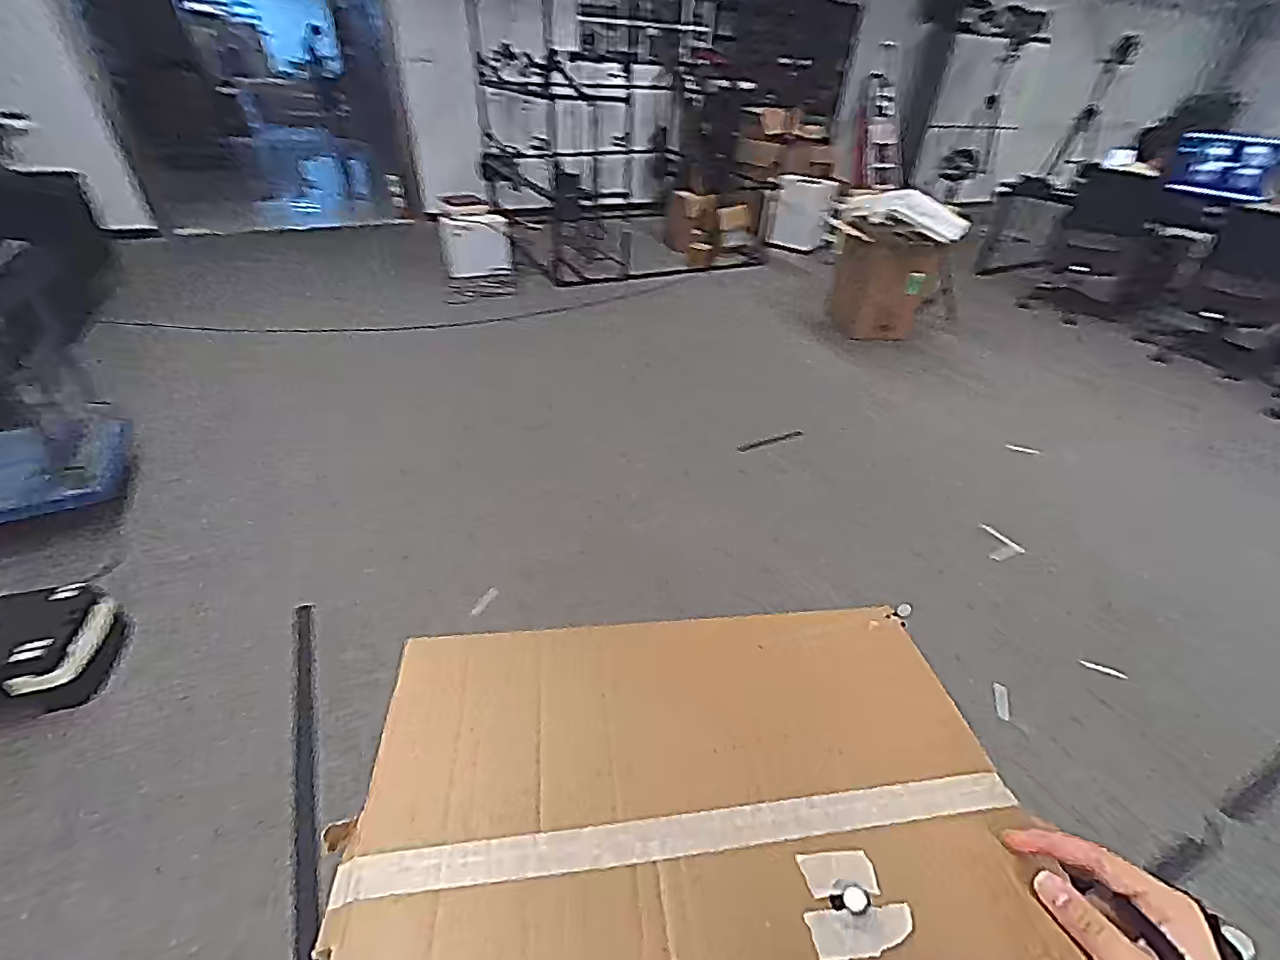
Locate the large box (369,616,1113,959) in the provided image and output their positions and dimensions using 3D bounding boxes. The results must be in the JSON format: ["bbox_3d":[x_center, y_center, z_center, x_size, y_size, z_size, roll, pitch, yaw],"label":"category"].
[{"bbox_3d":[0.038,0.335,0.421,0.408,0.320,0.320,0,38,-9],"label":"large box"}]
